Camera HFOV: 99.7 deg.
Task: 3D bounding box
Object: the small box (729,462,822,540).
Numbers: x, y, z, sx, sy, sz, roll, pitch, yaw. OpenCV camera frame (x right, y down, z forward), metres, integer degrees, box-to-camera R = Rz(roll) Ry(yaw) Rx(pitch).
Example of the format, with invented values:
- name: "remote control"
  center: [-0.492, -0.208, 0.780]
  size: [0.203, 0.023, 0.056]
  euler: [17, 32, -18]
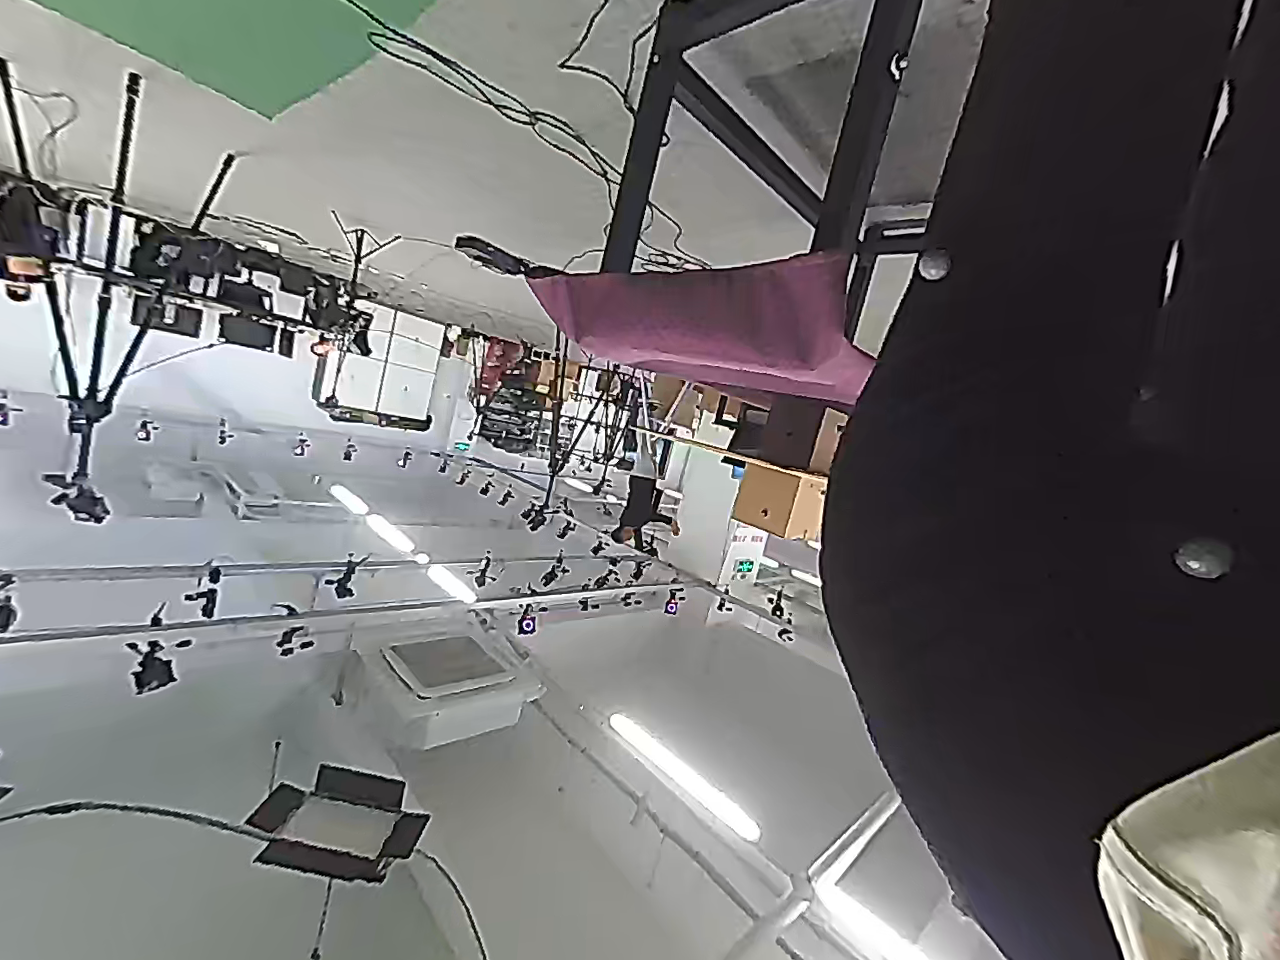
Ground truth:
- name: "small box"
  center: [0.375, 0.055, 1.470]
  size: [0.168, 0.176, 0.179]
  euler: [10, -173, -44]
